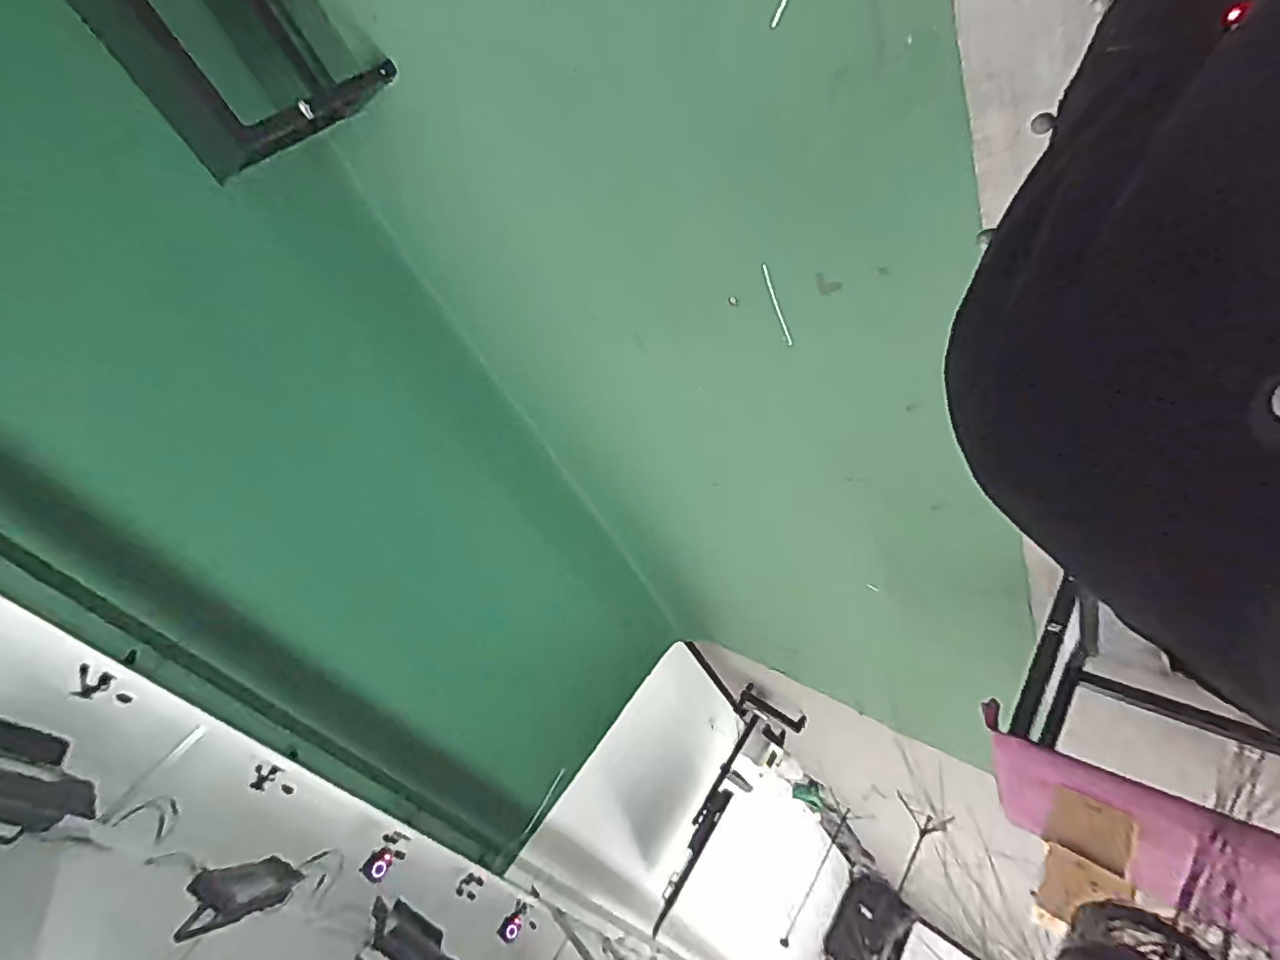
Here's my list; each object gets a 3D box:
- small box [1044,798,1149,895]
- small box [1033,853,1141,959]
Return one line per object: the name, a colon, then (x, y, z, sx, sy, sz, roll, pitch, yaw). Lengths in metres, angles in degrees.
small box: (1.201, 0.975, 1.425, 0.179, 0.176, 0.168, 12, 143, 49)
small box: (1.102, 1.073, 1.337, 0.168, 0.176, 0.179, 17, 145, 42)
